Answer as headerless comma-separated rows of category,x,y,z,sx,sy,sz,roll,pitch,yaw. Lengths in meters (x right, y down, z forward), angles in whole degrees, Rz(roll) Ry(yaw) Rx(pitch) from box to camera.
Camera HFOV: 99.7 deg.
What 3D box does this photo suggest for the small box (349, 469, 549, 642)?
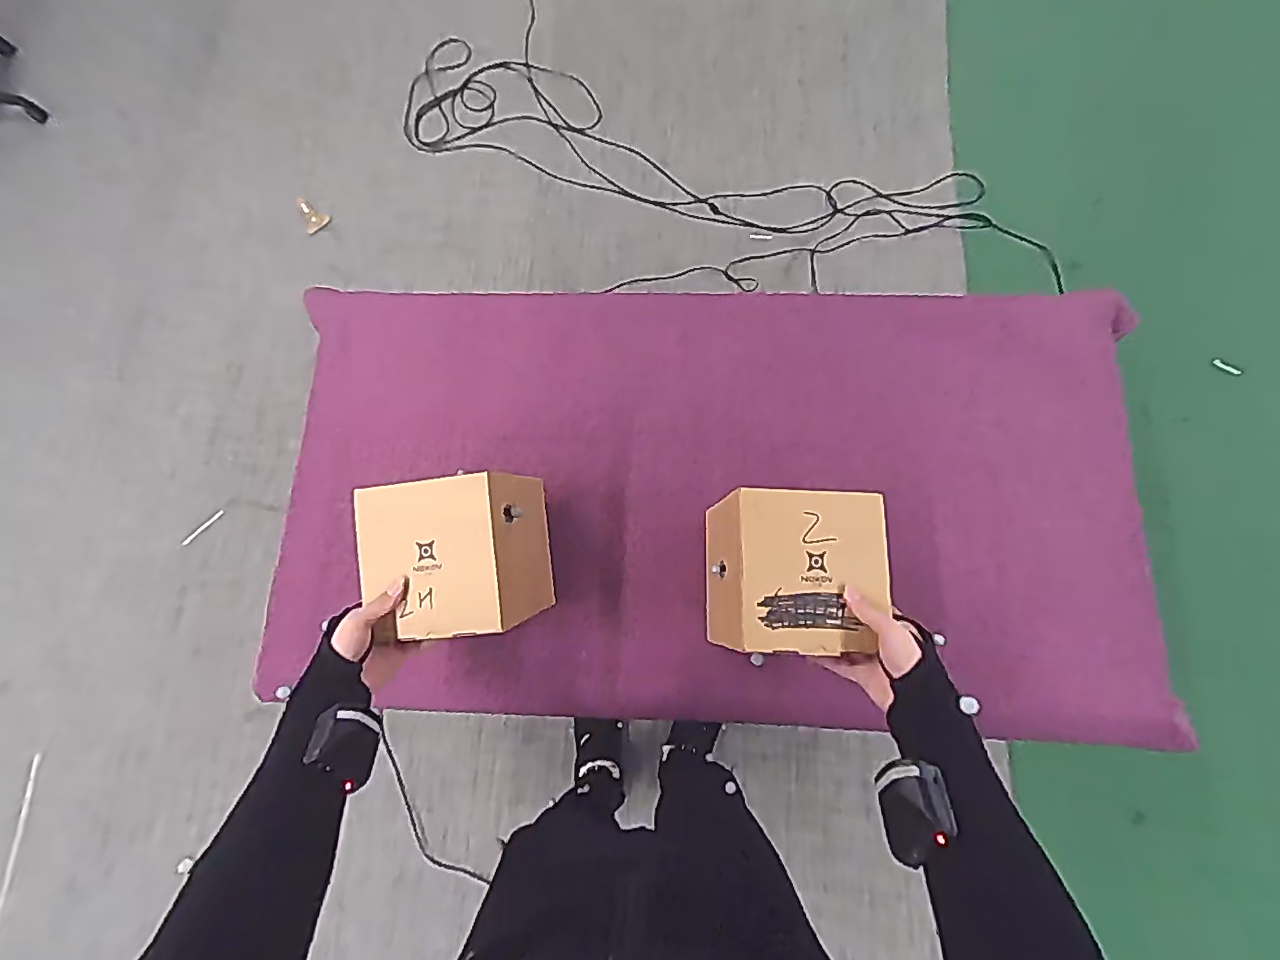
small box,-0.222,0.087,0.661,0.168,0.176,0.179,-7,87,11
